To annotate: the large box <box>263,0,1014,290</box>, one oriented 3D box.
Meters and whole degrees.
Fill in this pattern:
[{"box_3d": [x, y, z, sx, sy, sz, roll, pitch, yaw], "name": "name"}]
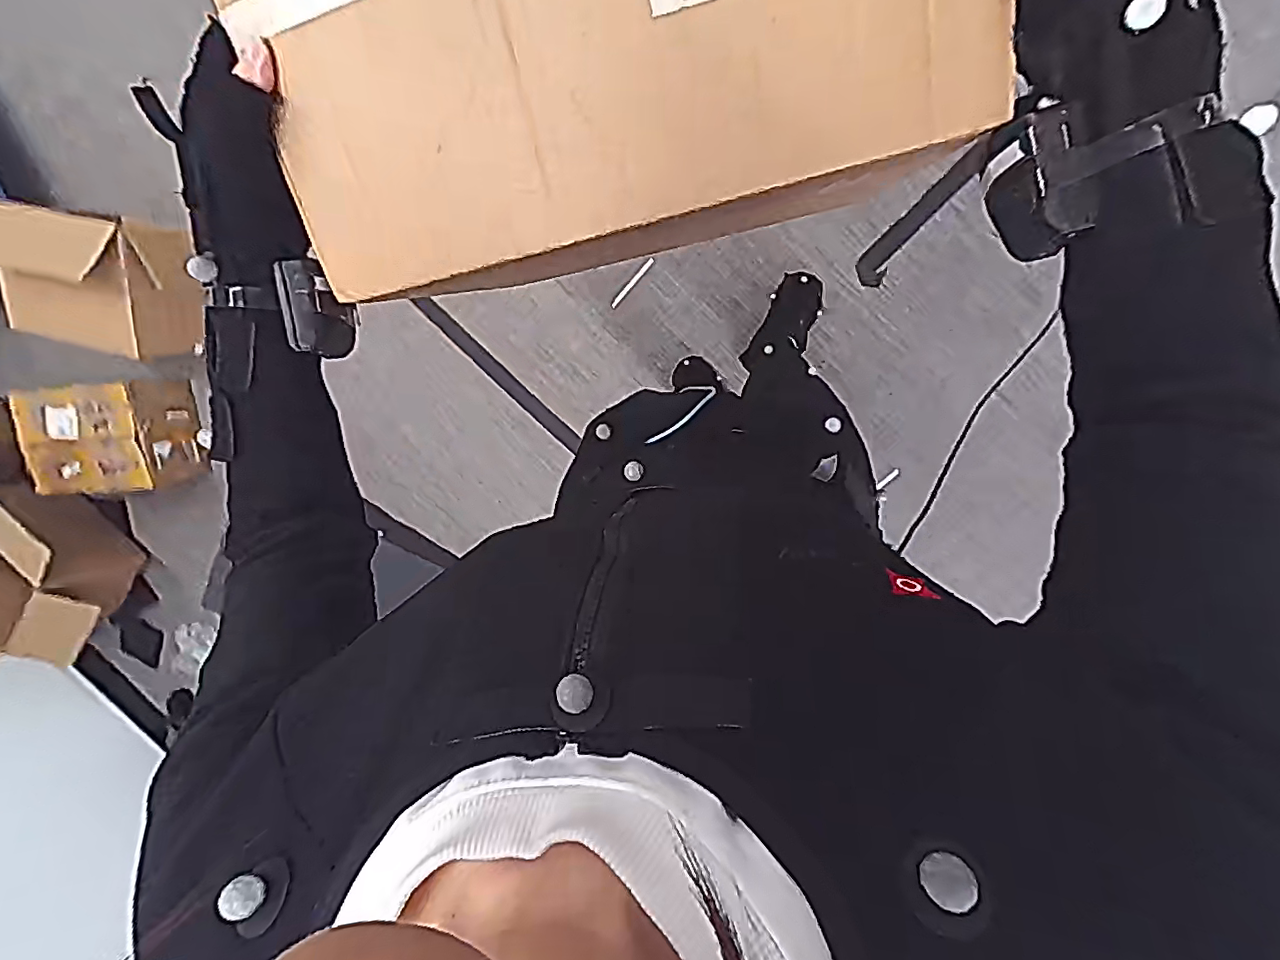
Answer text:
[{"box_3d": [-0.008, -0.354, 0.415, 0.408, 0.320, 0.320, -9, 110, 14], "name": "large box"}]
